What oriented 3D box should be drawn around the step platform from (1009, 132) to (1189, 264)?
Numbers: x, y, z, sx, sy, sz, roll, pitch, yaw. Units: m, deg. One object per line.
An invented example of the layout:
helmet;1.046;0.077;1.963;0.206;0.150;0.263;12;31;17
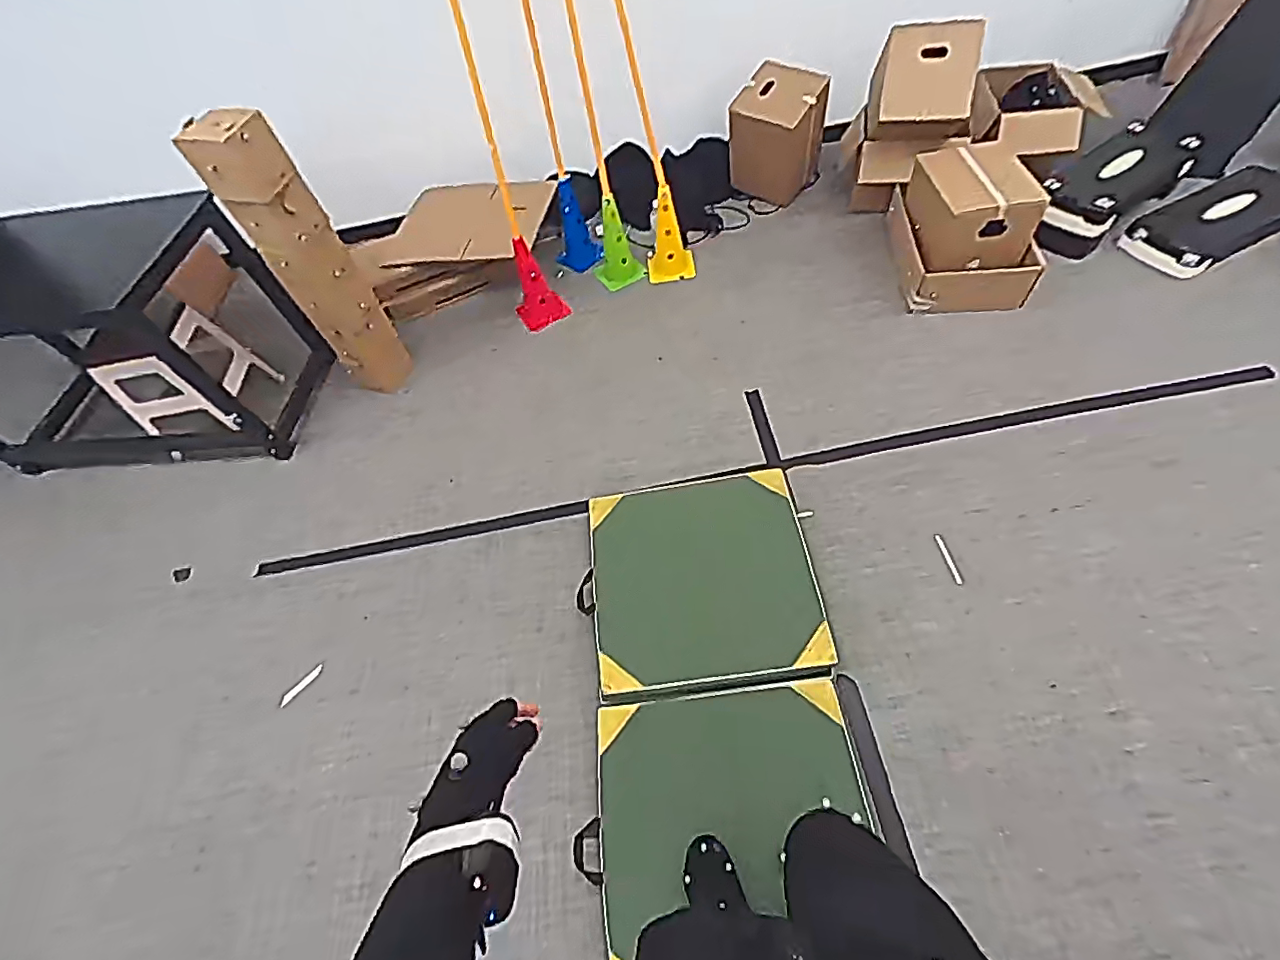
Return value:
step platform;1.844;-1.146;2.177;0.684;0.204;0.286;-35;58;-13
